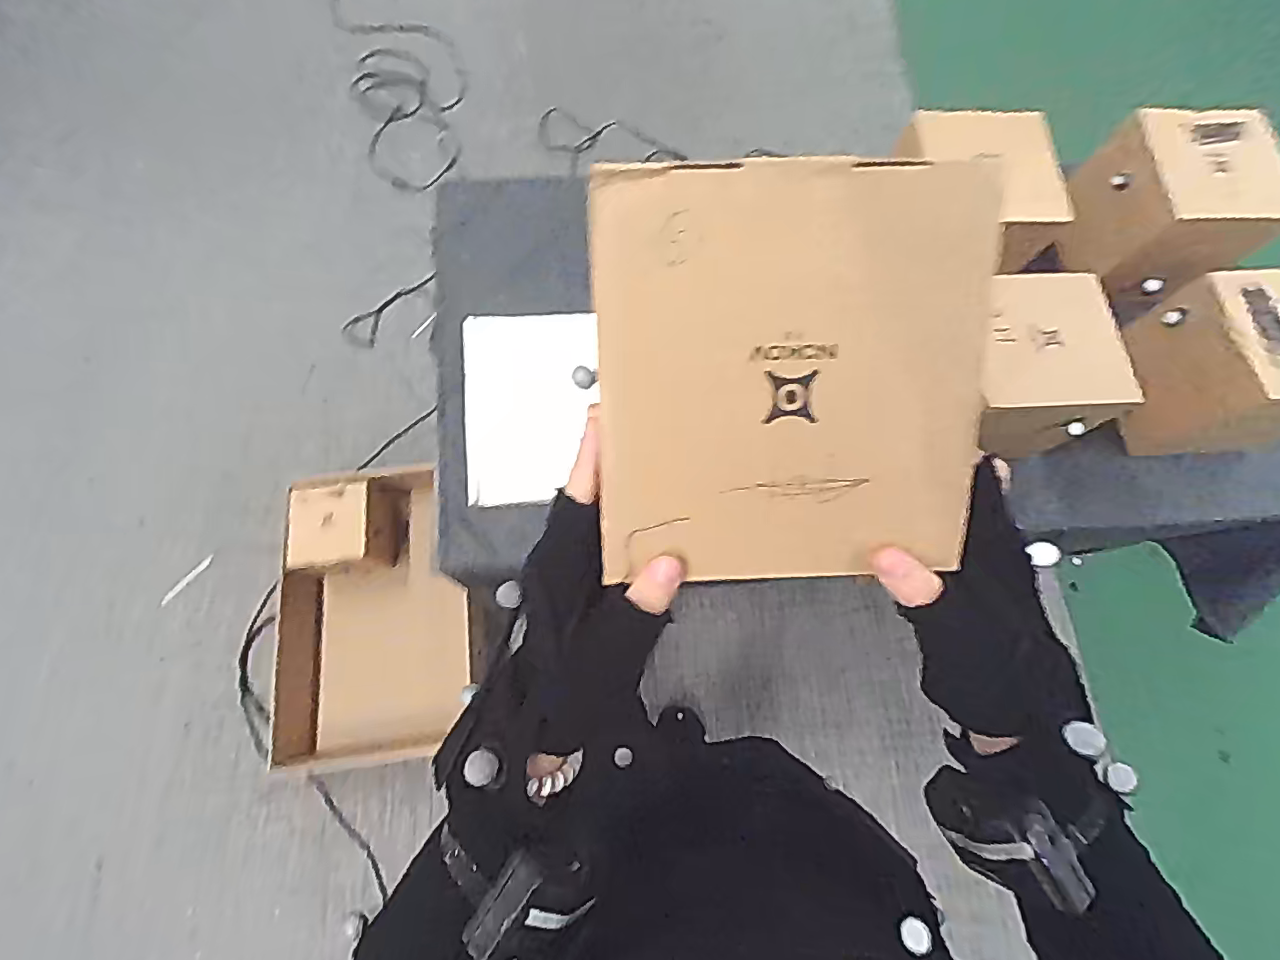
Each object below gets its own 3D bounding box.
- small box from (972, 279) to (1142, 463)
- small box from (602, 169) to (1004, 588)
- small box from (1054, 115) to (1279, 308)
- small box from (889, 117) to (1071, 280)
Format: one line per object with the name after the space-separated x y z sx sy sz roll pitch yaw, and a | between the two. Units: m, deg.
0.437 -0.124 0.665 0.179 0.176 0.168 -2 71 -2 | small box
0.062 -0.054 0.308 0.168 0.176 0.179 -1 103 -2 | small box
0.721 -0.365 0.751 0.168 0.176 0.179 0 73 -1 | small box
0.431 -0.357 0.743 0.168 0.176 0.179 0 72 -1 | small box
